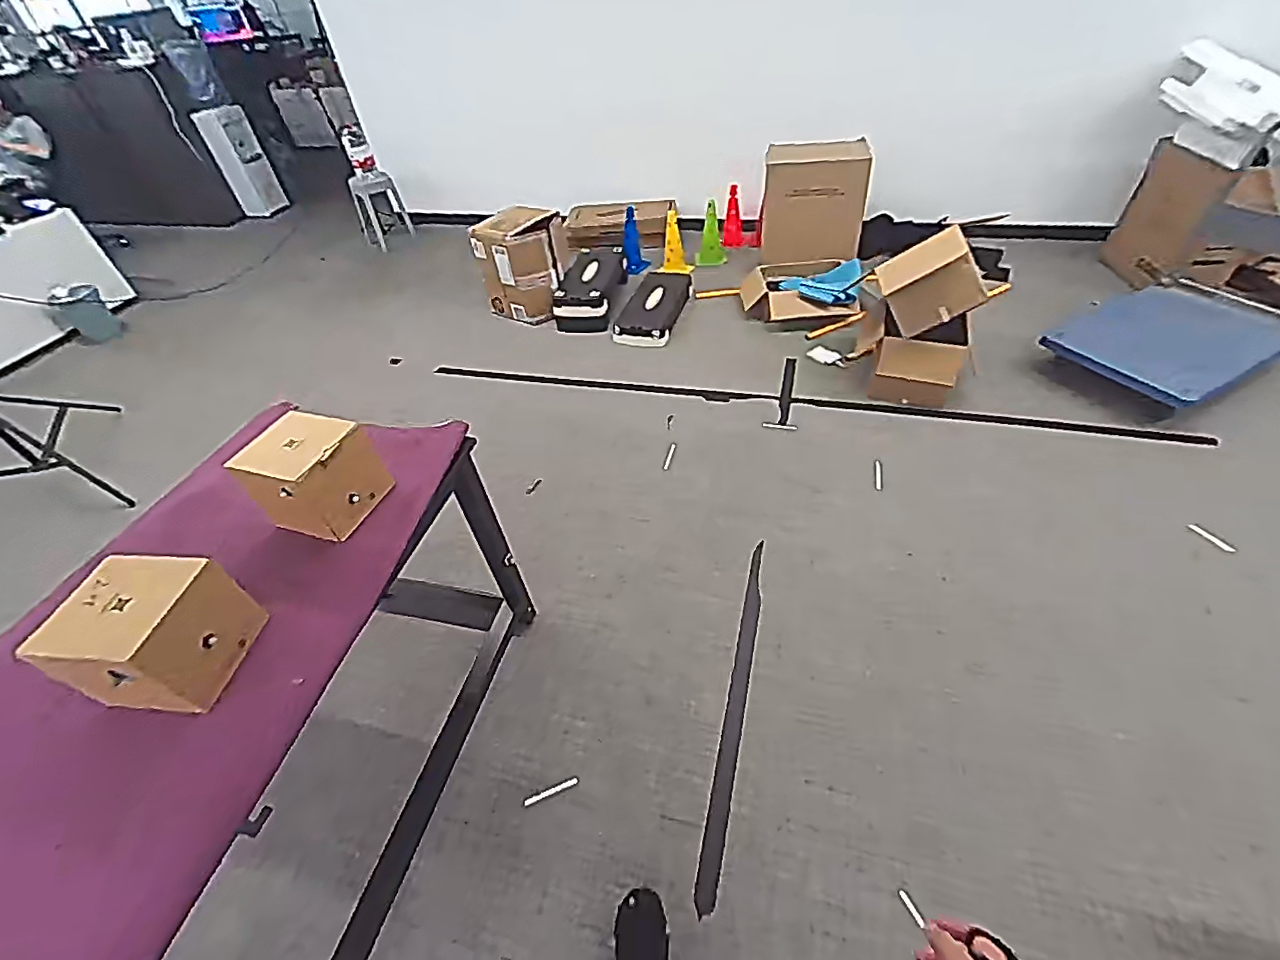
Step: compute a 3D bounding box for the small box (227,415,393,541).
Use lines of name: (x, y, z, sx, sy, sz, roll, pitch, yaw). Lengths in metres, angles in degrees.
small box: (-0.624, -0.003, 1.045, 0.179, 0.176, 0.168, 10, 47, 17)

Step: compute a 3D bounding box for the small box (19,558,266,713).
small box: (-0.724, 0.236, 0.816, 0.179, 0.176, 0.168, 0, 45, 8)
